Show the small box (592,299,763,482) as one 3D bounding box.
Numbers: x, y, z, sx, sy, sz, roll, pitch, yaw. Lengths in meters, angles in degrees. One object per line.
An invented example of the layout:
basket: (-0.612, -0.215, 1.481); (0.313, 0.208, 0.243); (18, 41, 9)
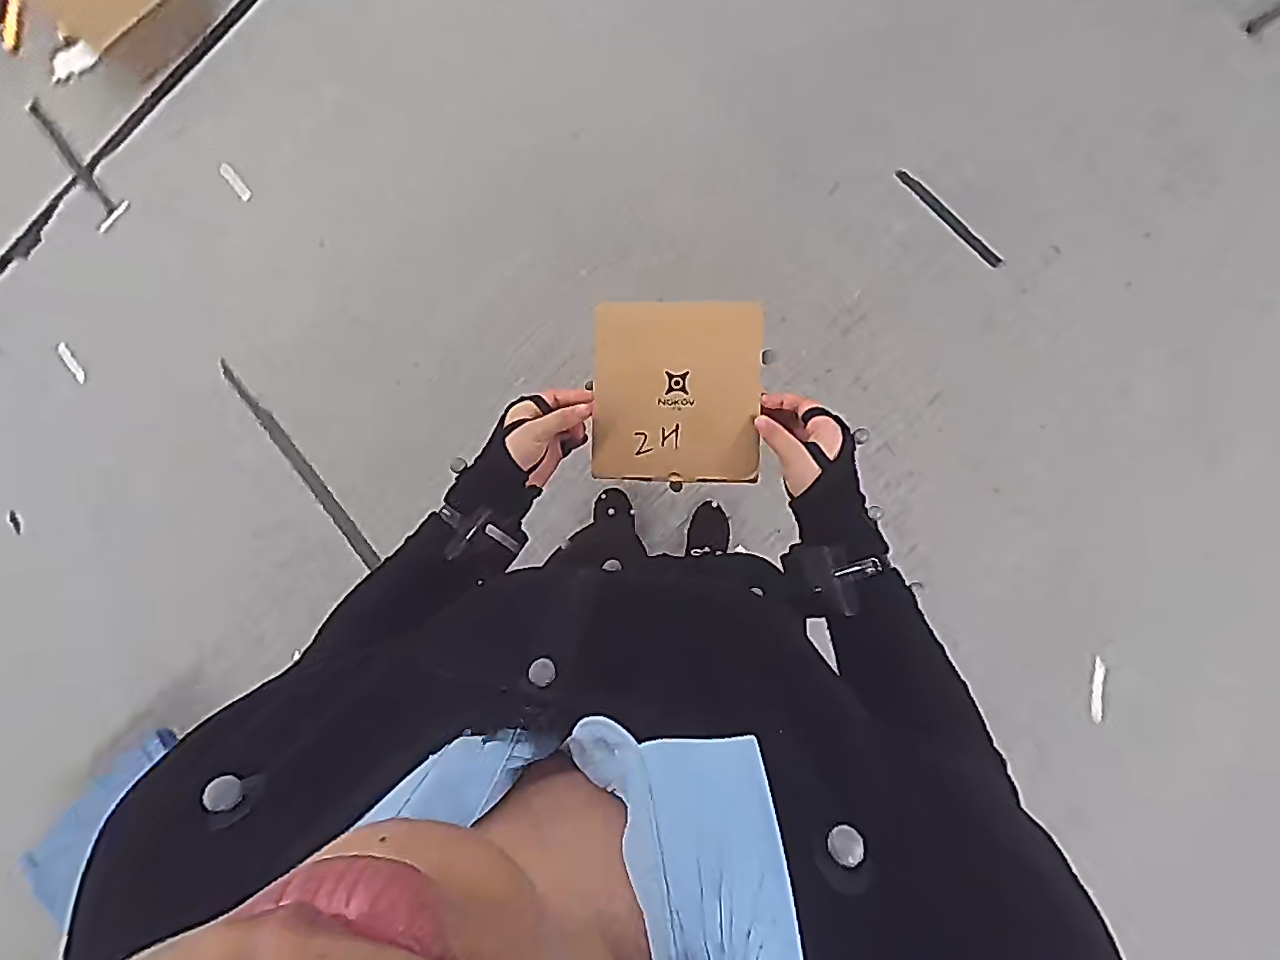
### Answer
small box: (0.041, -0.087, 0.599); (0.168, 0.176, 0.179); (0, 92, 5)
